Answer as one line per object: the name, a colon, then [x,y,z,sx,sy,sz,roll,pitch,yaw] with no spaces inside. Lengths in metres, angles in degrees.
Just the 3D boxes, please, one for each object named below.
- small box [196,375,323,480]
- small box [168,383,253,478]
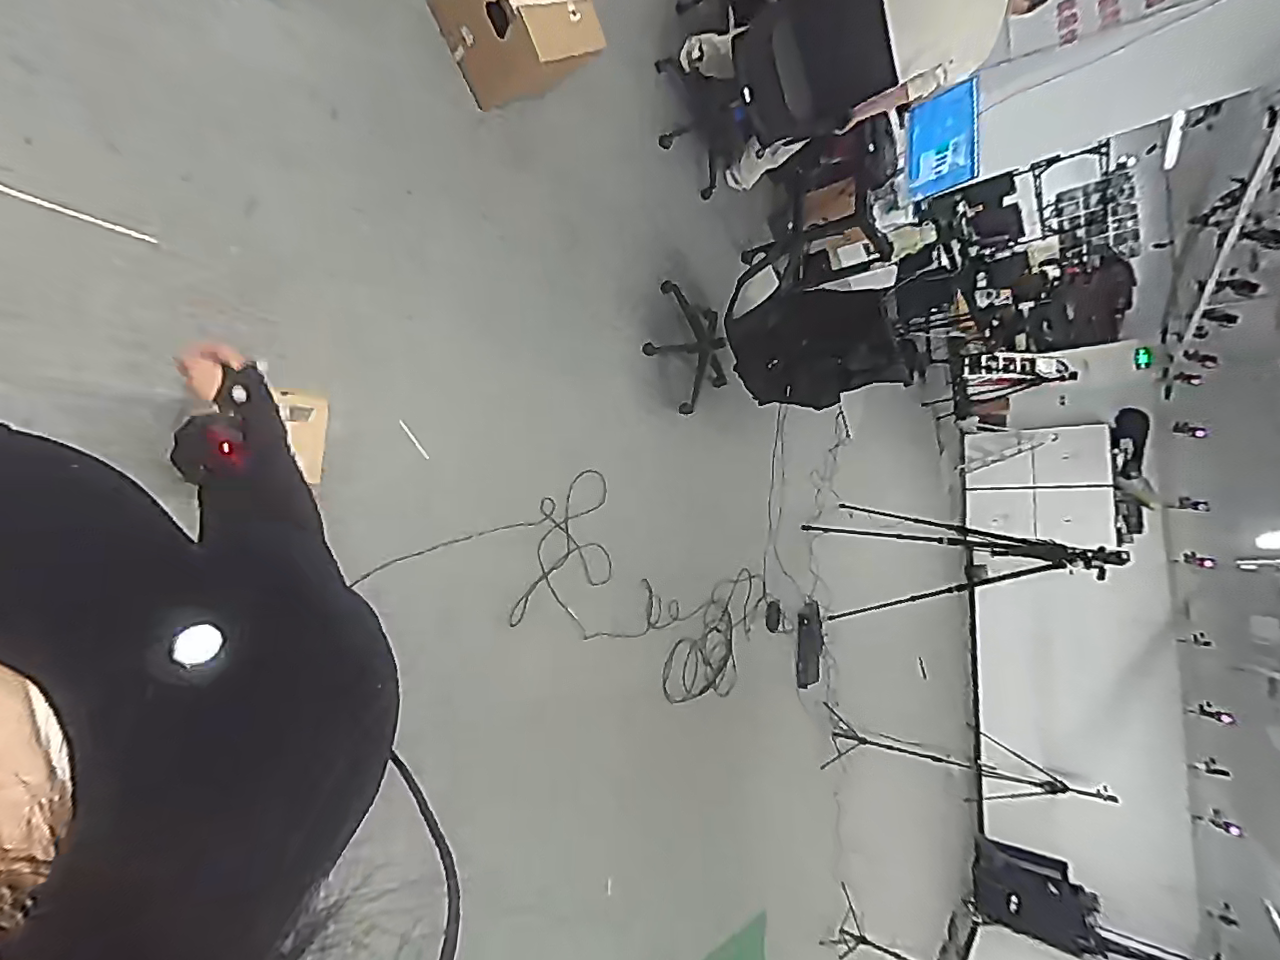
small box: [-0.768,-0.096,1.091,0.168,0.176,0.179,10,82,-50]
small box: [-0.905,-0.098,1.183,0.168,0.176,0.179,8,82,-51]
